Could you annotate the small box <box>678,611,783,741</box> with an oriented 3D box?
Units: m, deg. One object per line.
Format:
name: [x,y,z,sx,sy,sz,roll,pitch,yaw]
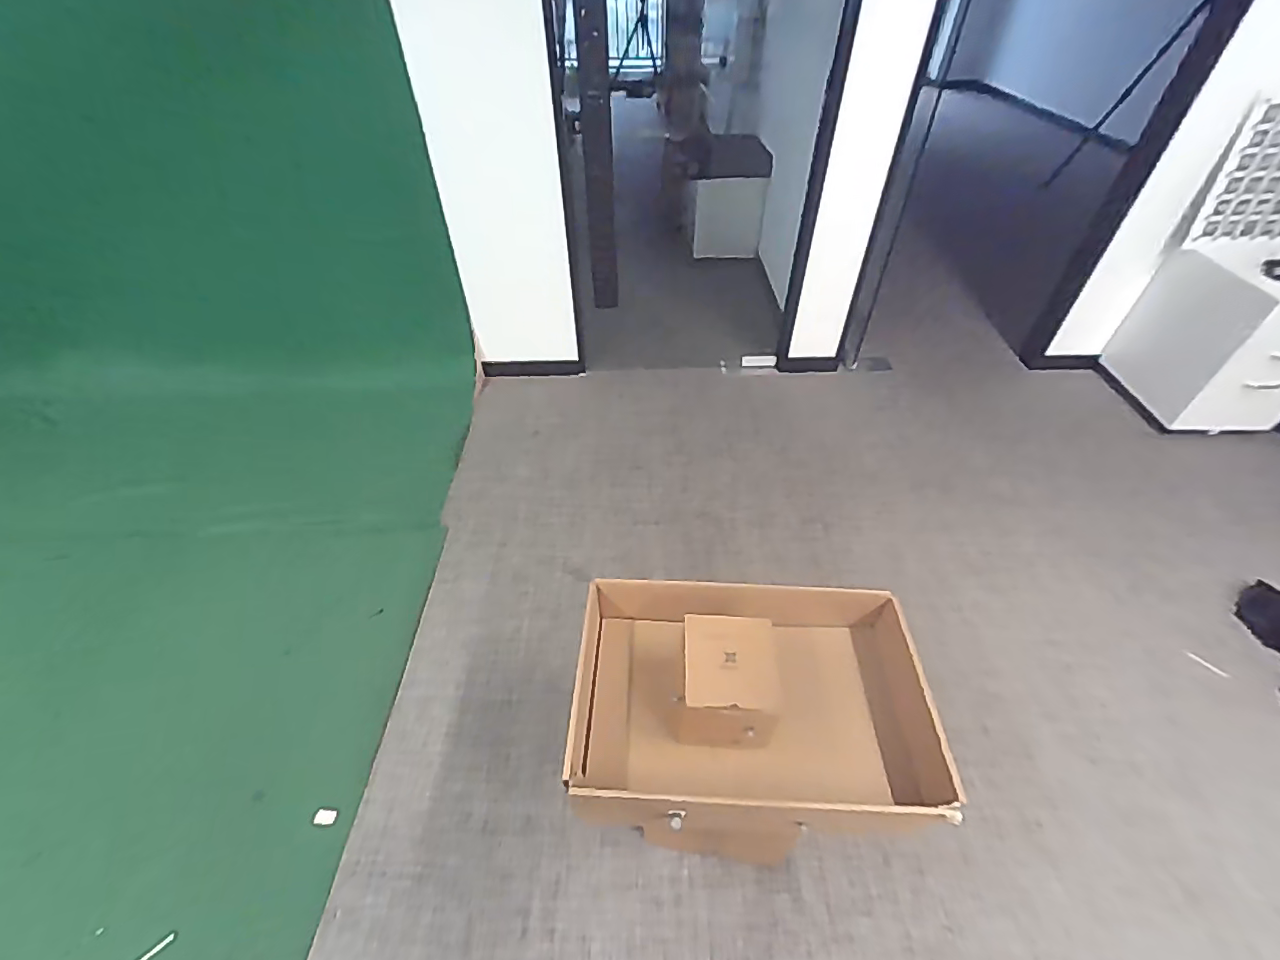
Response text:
small box: [0.161,0.370,1.014,0.168,0.176,0.179,3,44,1]
